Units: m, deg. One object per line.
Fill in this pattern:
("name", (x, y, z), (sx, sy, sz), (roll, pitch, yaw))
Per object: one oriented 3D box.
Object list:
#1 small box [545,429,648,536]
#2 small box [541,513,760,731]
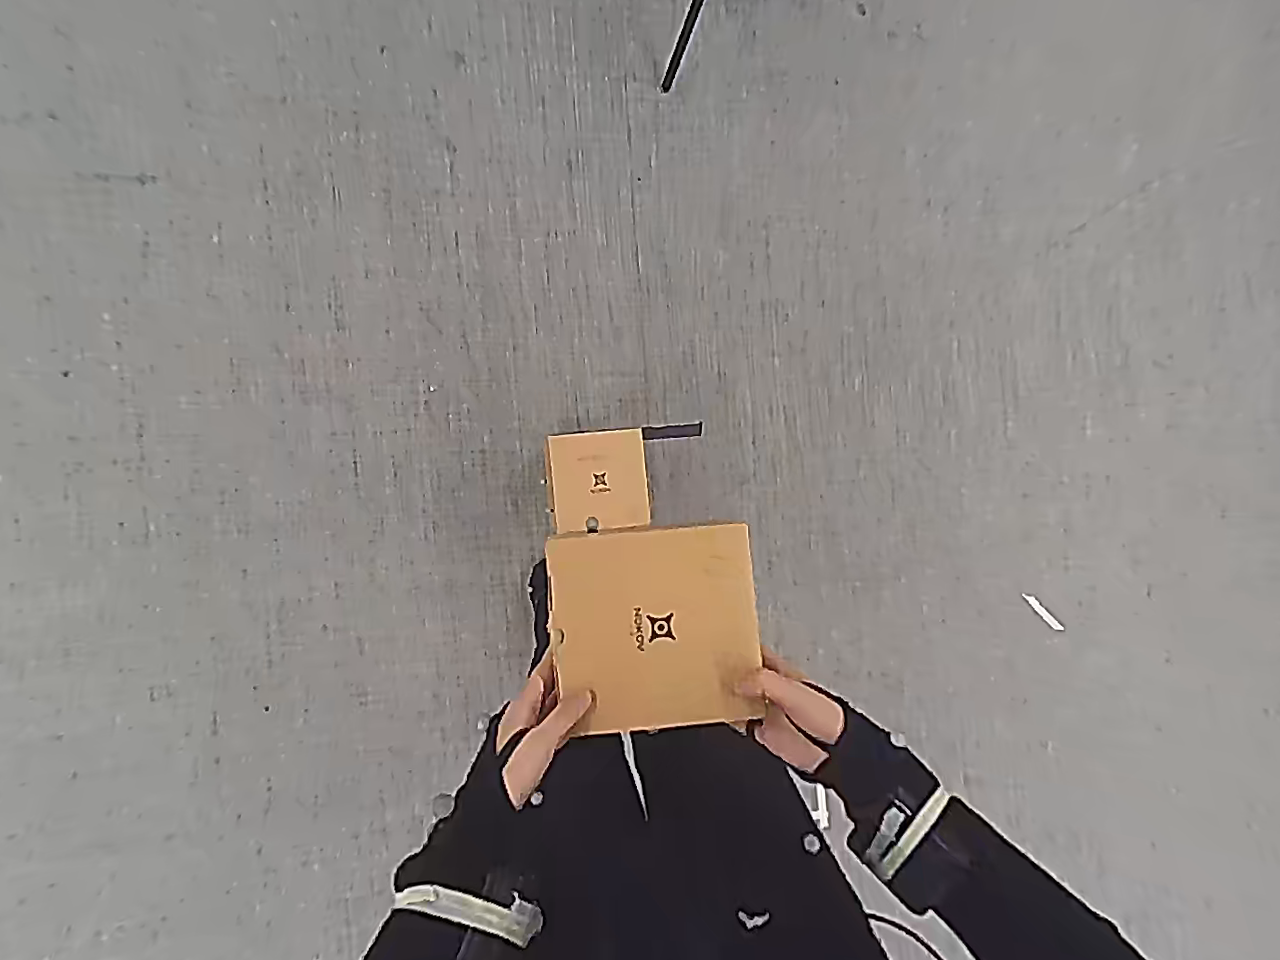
("small box", (-0.087, 0.003, 1.010), (0.168, 0.176, 0.179), (-6, 91, -12))
("small box", (0.007, 0.124, 0.537), (0.179, 0.176, 0.168), (-6, 88, -1))
